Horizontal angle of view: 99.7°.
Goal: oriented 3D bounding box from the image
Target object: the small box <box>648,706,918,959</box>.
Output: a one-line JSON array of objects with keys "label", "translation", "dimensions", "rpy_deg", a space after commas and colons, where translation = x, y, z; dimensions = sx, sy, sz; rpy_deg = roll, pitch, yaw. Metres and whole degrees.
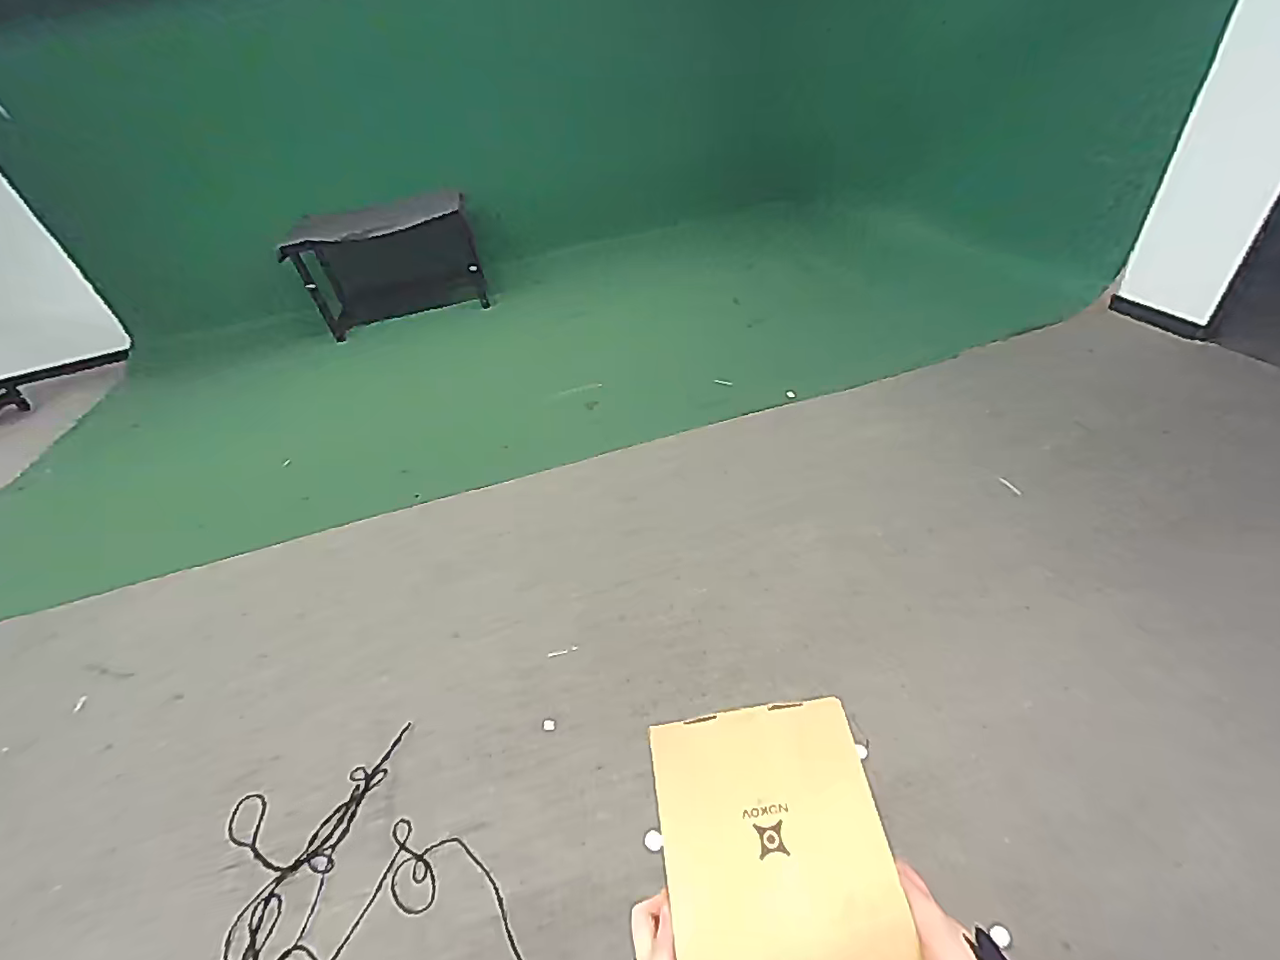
[{"label": "small box", "translation": [0.107, 0.317, 0.466], "dimensions": [0.168, 0.176, 0.179], "rpy_deg": [-10, 52, 2]}]
